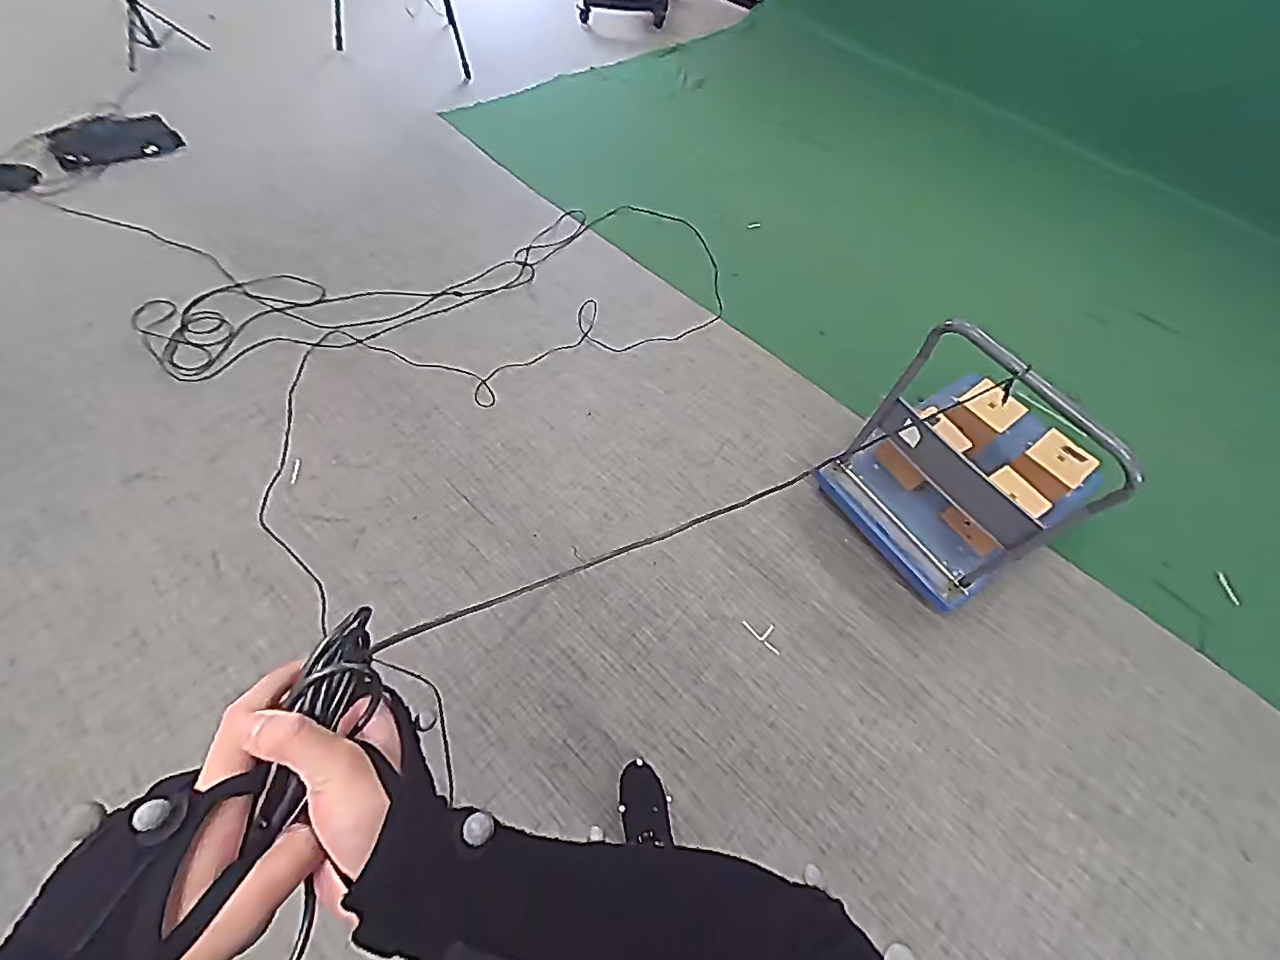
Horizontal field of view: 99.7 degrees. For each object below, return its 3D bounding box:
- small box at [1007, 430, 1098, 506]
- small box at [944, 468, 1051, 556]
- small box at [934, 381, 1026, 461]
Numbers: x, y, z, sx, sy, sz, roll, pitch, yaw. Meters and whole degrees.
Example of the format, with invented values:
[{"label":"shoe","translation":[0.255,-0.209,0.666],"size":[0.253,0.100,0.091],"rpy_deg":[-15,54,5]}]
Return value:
[{"label":"small box","translation":[1.286,-0.020,1.724],"size":[0.179,0.176,0.168],"rpy_deg":[-32,65,-22]},{"label":"small box","translation":[1.063,0.099,1.626],"size":[0.179,0.176,0.168],"rpy_deg":[-27,64,-21]},{"label":"small box","translation":[1.131,-0.194,1.818],"size":[0.179,0.176,0.168],"rpy_deg":[-31,67,-23]}]
